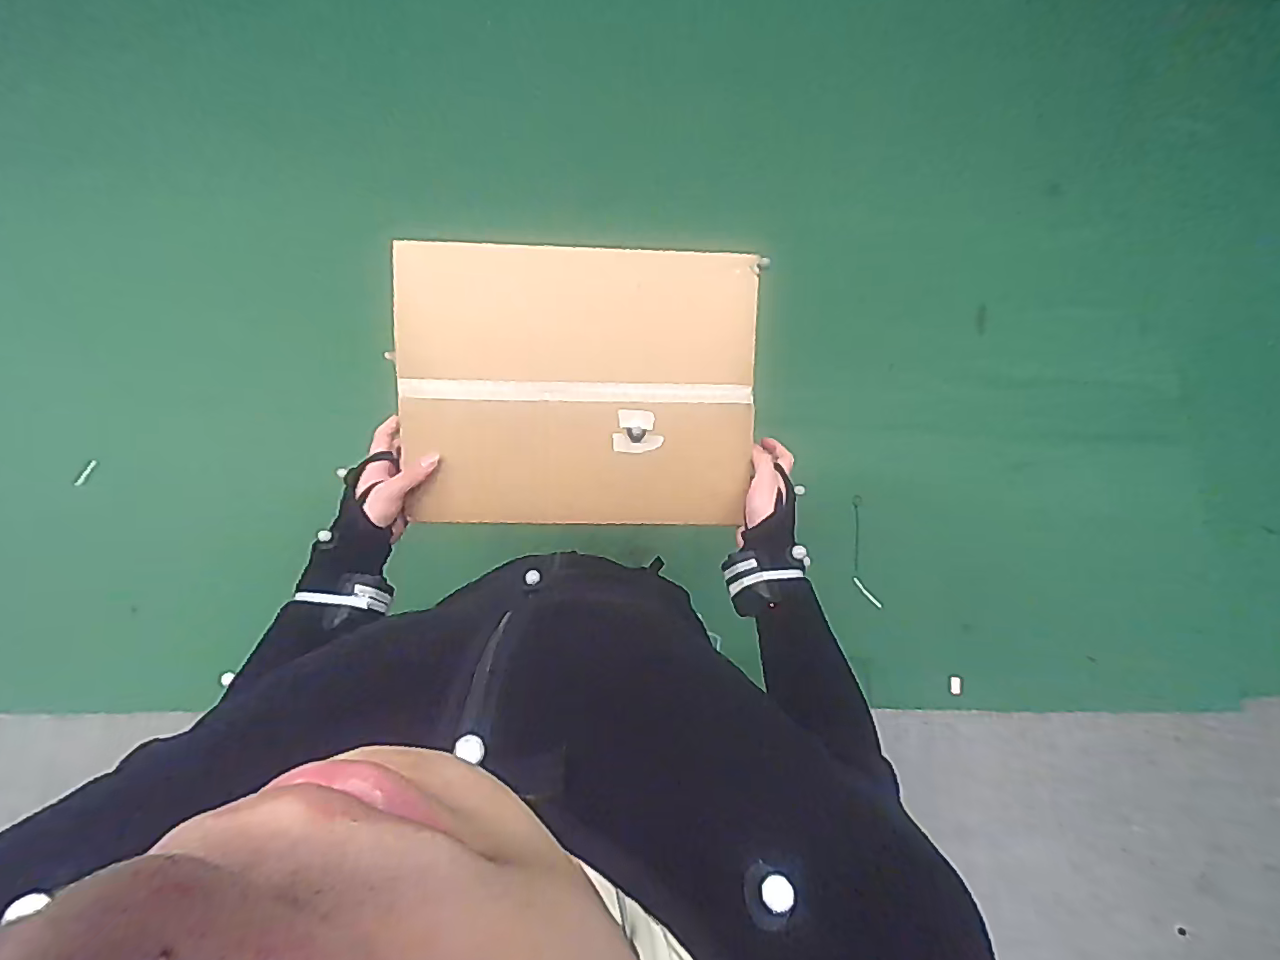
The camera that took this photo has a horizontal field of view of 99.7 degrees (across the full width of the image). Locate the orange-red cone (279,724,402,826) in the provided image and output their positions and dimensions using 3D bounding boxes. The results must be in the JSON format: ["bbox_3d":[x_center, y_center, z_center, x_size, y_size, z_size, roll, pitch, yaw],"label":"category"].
[{"bbox_3d":[-0.783,0.773,1.358,0.199,0.360,0.198,8,80,0],"label":"orange-red cone"}]

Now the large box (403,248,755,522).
[{"bbox_3d":[-0.077,-0.125,0.776,0.408,0.320,0.320,0,99,-4],"label":"large box"}]
